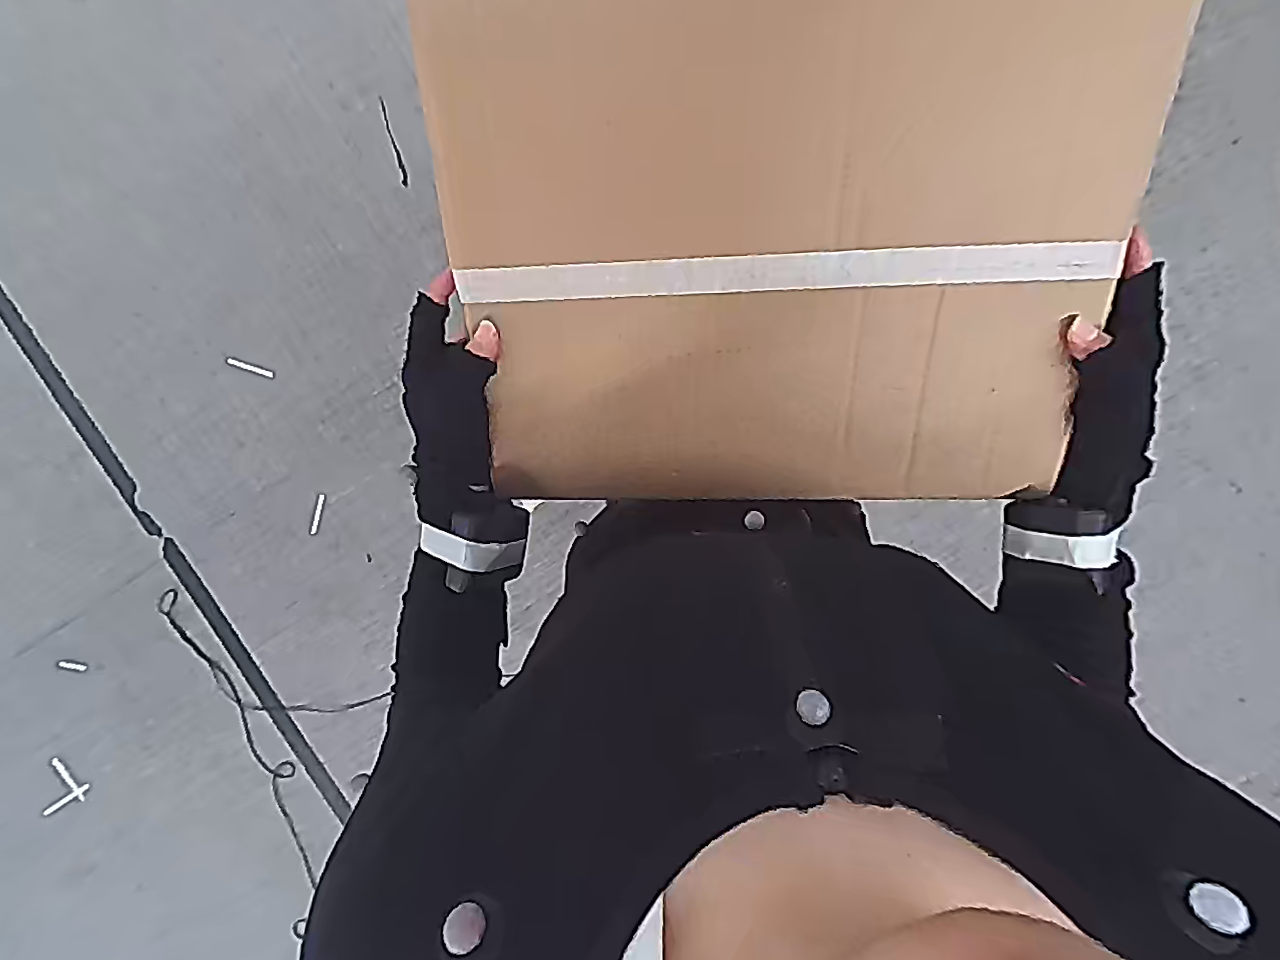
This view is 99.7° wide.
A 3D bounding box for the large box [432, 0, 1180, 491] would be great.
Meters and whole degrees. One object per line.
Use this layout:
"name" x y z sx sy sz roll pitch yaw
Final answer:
"large box" 0.094 -0.197 0.482 0.408 0.320 0.320 0 117 4
